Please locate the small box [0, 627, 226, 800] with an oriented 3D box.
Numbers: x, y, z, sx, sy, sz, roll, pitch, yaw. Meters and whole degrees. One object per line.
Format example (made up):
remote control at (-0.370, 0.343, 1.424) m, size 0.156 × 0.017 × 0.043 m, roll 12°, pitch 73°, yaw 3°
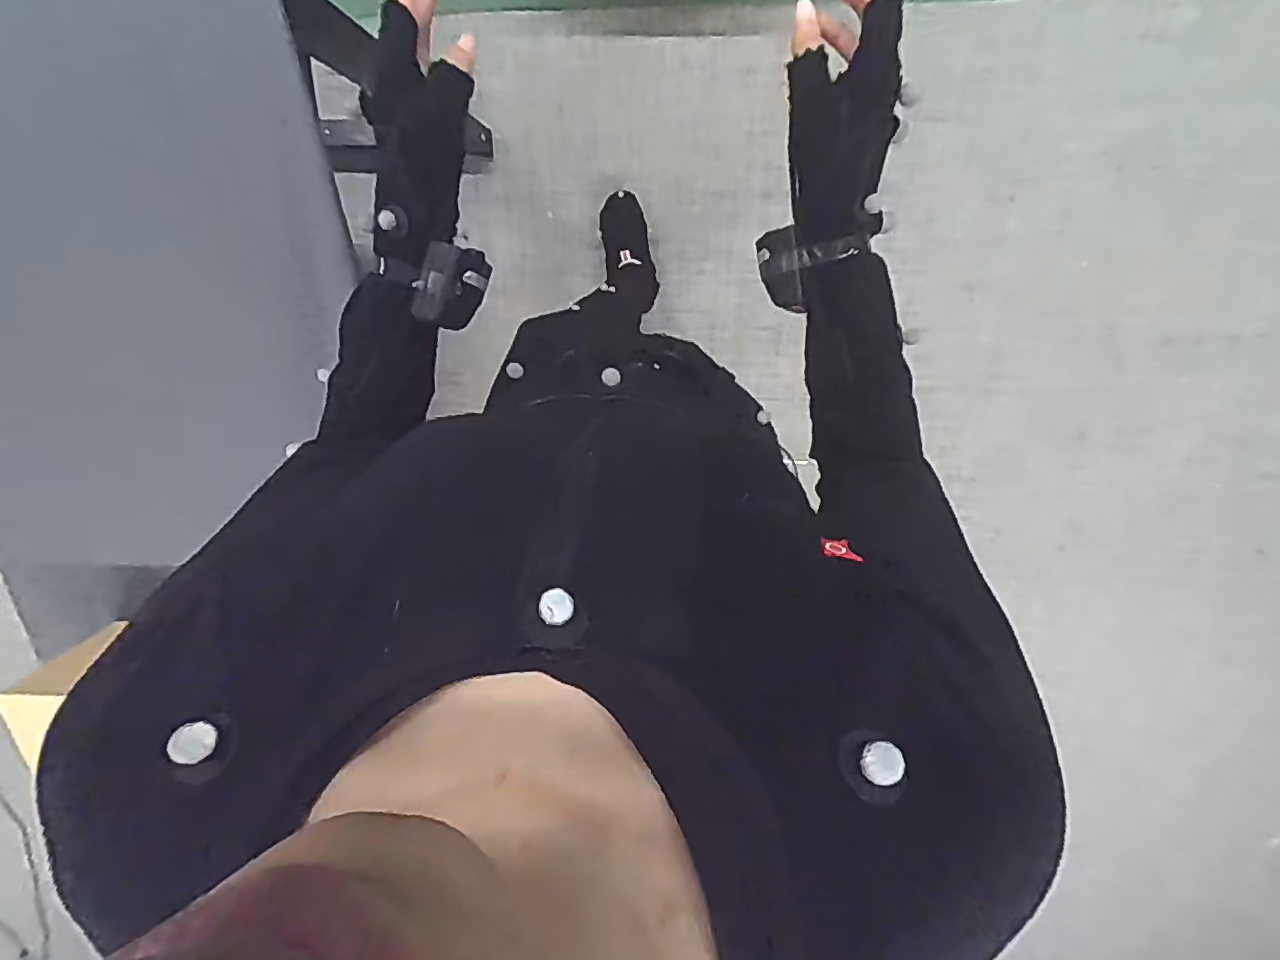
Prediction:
small box at (-0.745, 0.336, 0.801) m, size 0.168 × 0.176 × 0.179 m, roll 0°, pitch 110°, yaw 4°
